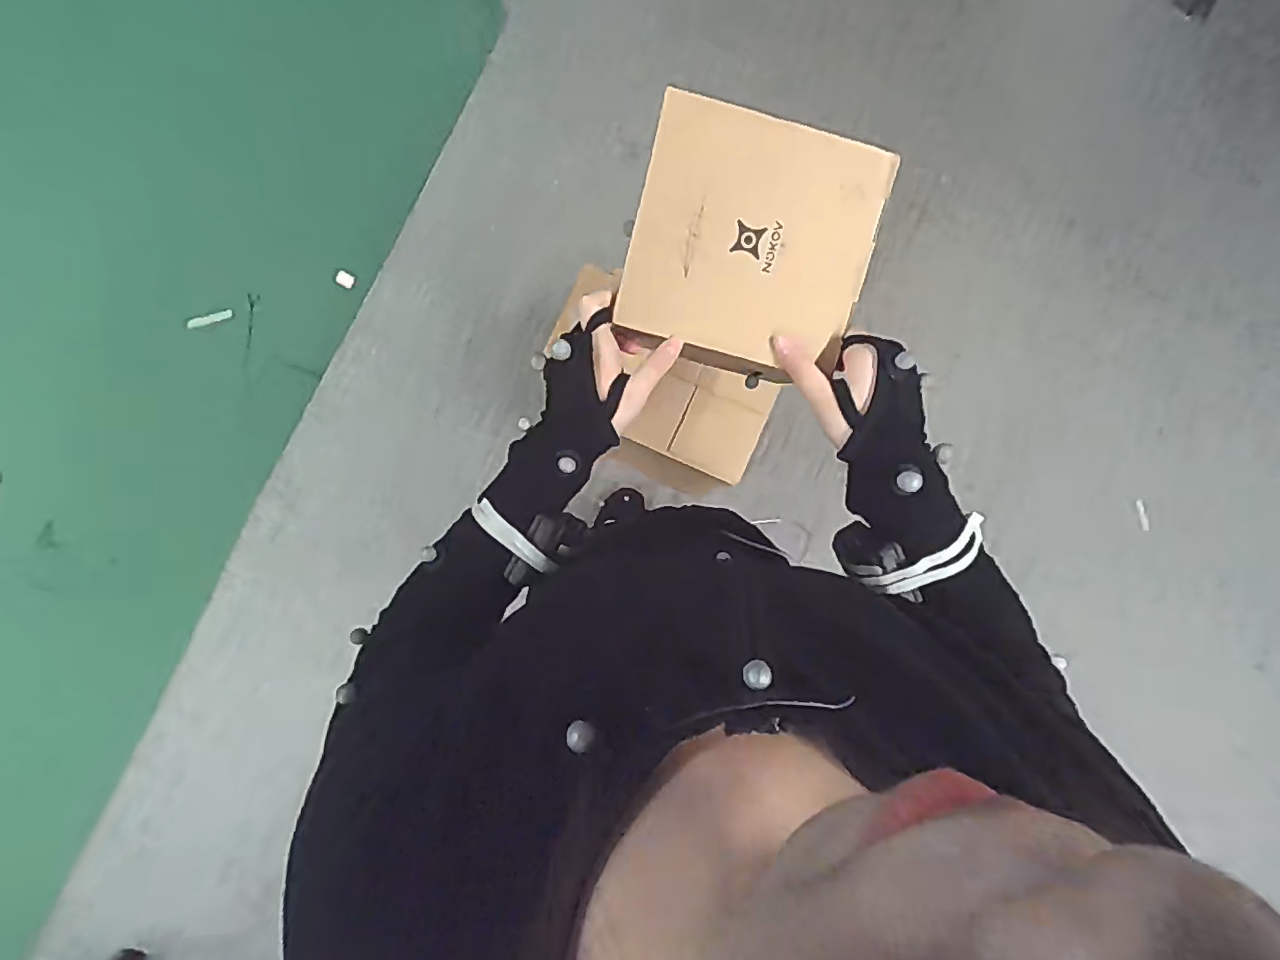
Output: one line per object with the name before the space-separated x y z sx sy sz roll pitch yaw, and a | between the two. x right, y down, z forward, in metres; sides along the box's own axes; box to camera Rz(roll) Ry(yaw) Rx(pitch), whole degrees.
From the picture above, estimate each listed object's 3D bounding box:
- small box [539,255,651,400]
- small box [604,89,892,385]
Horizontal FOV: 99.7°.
small box | -0.062 -0.262 0.980 0.168 0.176 0.179 26 87 -3
small box | 0.075 -0.187 0.471 0.179 0.176 0.168 15 99 -4
